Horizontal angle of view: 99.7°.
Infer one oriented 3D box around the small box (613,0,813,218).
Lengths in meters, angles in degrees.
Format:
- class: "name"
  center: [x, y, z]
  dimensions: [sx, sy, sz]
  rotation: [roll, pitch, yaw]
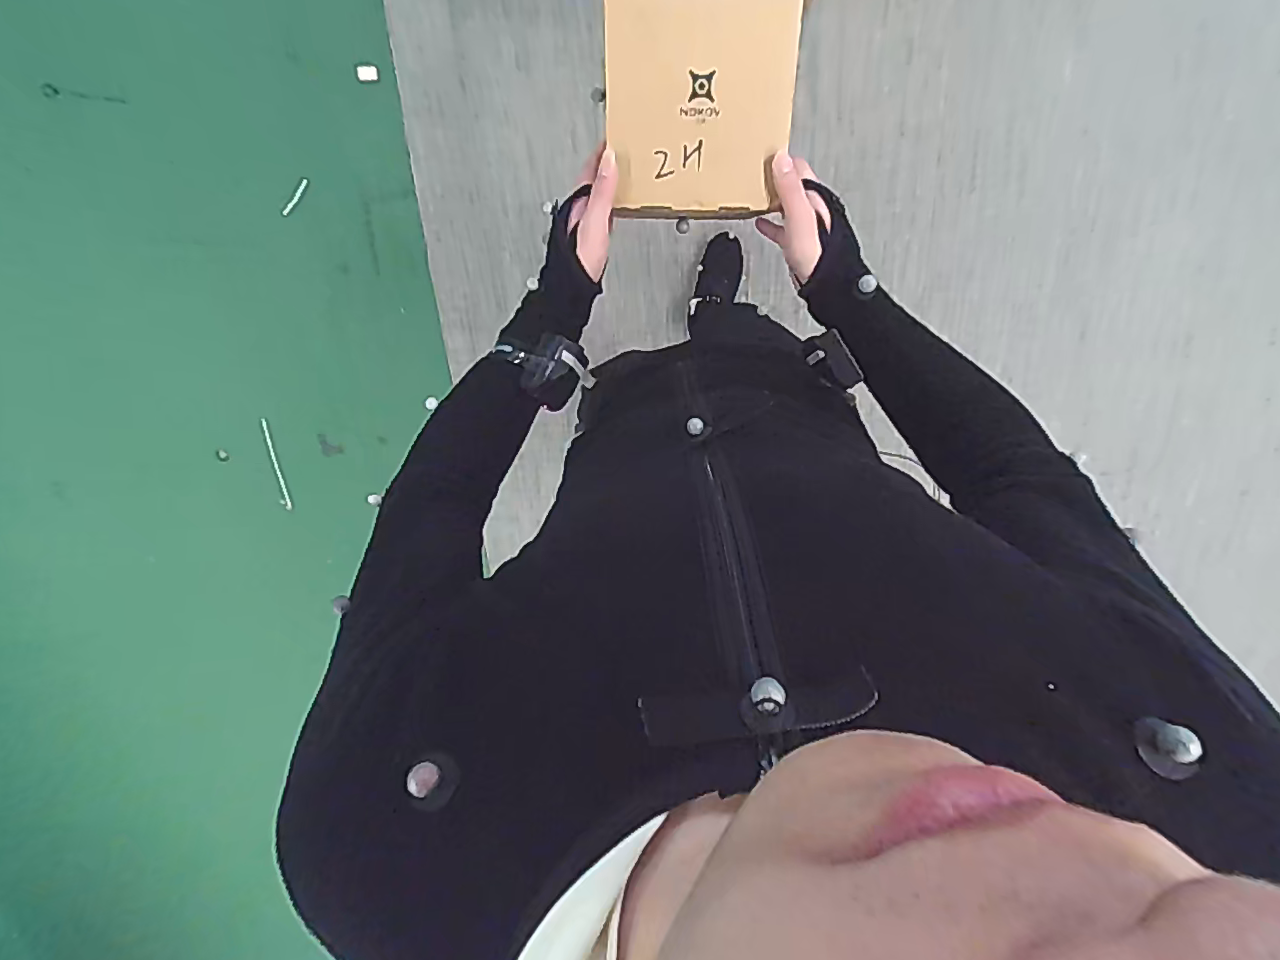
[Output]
- class: "small box"
  center: [0.056, -0.364, 0.535]
  dimensions: [0.168, 0.176, 0.179]
  rotation: [0, 113, -1]
